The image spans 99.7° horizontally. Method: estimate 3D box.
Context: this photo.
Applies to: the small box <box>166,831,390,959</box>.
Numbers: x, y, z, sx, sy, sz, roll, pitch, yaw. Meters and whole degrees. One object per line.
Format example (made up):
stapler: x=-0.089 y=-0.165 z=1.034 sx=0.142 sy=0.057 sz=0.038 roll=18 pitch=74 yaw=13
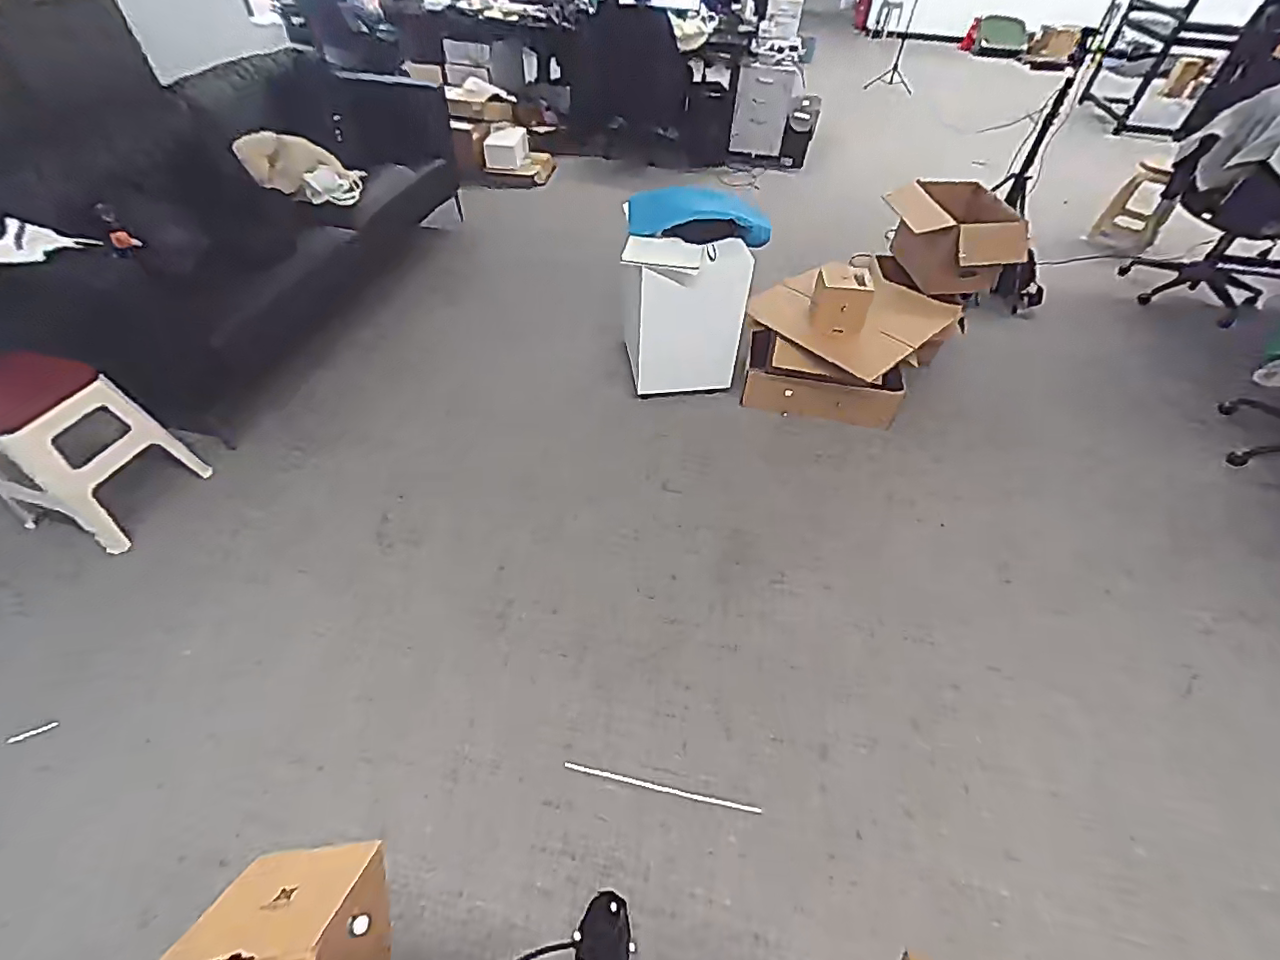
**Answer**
small box: x=-0.423 y=0.573 z=0.661 sx=0.168 sy=0.179 sz=0.176 roll=-5 pitch=92 yaw=-2
